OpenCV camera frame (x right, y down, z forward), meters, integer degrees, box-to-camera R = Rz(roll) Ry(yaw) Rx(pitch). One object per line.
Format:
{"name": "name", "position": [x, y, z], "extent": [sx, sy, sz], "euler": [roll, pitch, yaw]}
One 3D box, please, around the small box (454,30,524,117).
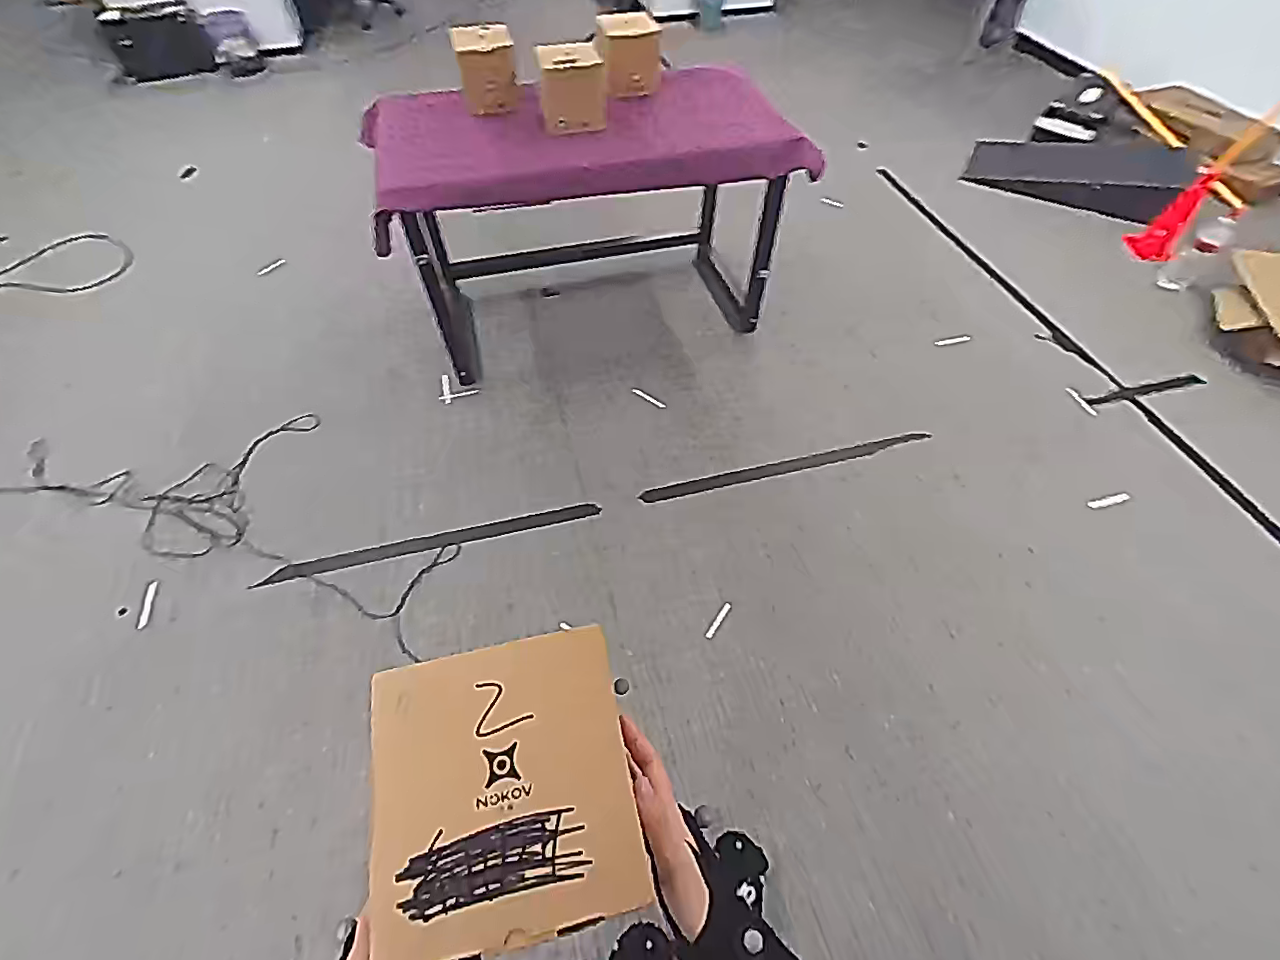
{"name": "small box", "position": [-0.460, -1.243, 1.664], "extent": [0.168, 0.176, 0.179], "euler": [-13, 58, -10]}

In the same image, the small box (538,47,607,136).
{"name": "small box", "position": [-0.196, -1.138, 1.594], "extent": [0.168, 0.176, 0.179], "euler": [-12, 55, -9]}

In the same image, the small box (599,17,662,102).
{"name": "small box", "position": [-0.032, -1.352, 1.740], "extent": [0.168, 0.176, 0.179], "euler": [-13, 57, -8]}
